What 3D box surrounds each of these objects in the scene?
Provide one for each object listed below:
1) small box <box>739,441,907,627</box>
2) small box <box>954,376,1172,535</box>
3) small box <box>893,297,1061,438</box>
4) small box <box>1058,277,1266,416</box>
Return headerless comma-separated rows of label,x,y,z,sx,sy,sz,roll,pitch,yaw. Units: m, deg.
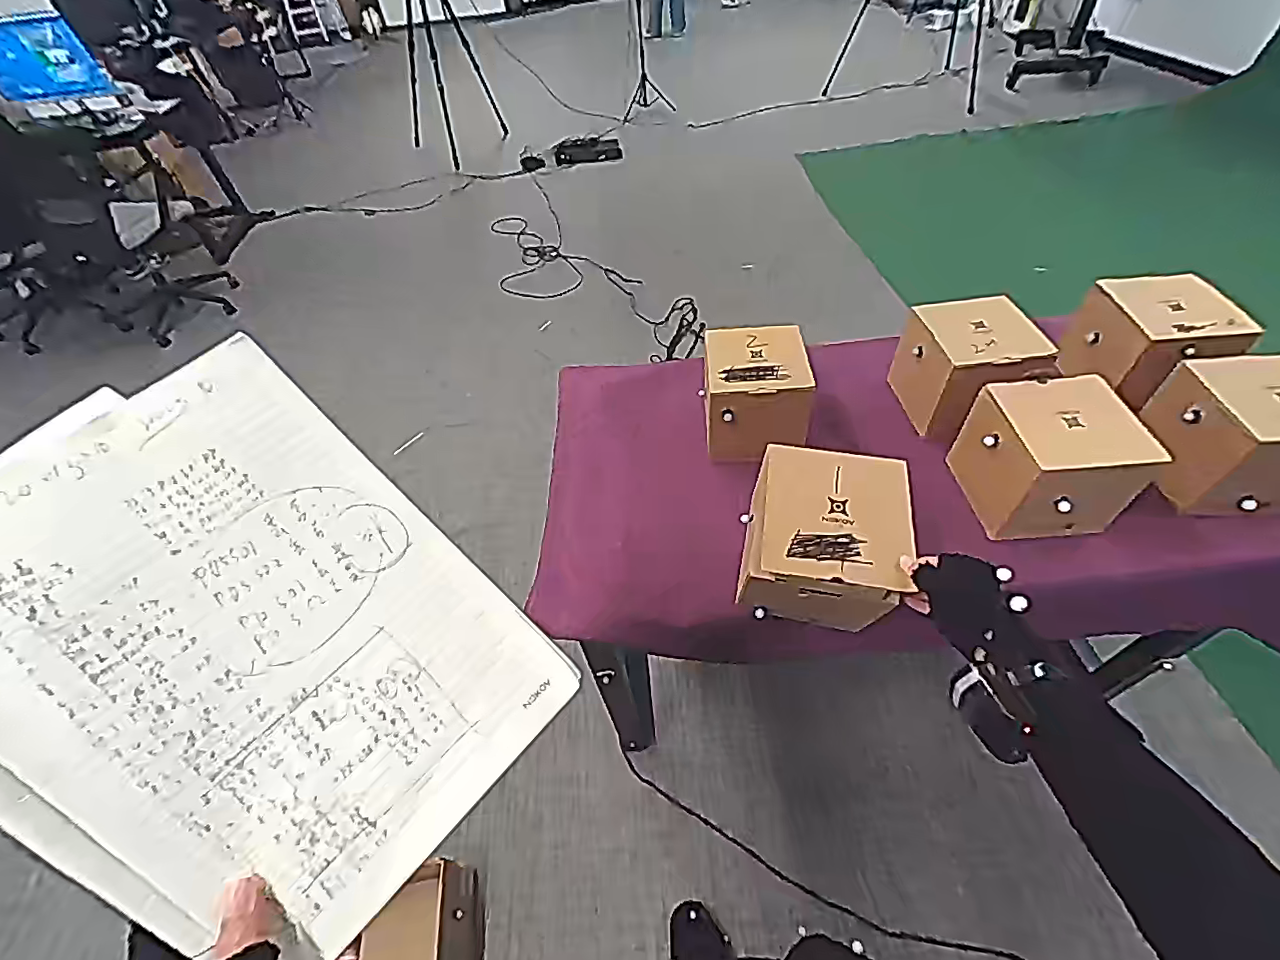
small box,0.226,0.076,0.695,0.168,0.176,0.179,11,65,9
small box,0.607,-0.028,0.807,0.168,0.176,0.179,-4,50,4
small box,0.572,-0.196,0.951,0.168,0.176,0.179,-6,49,2
small box,0.884,-0.231,0.944,0.168,0.176,0.179,-3,49,5
